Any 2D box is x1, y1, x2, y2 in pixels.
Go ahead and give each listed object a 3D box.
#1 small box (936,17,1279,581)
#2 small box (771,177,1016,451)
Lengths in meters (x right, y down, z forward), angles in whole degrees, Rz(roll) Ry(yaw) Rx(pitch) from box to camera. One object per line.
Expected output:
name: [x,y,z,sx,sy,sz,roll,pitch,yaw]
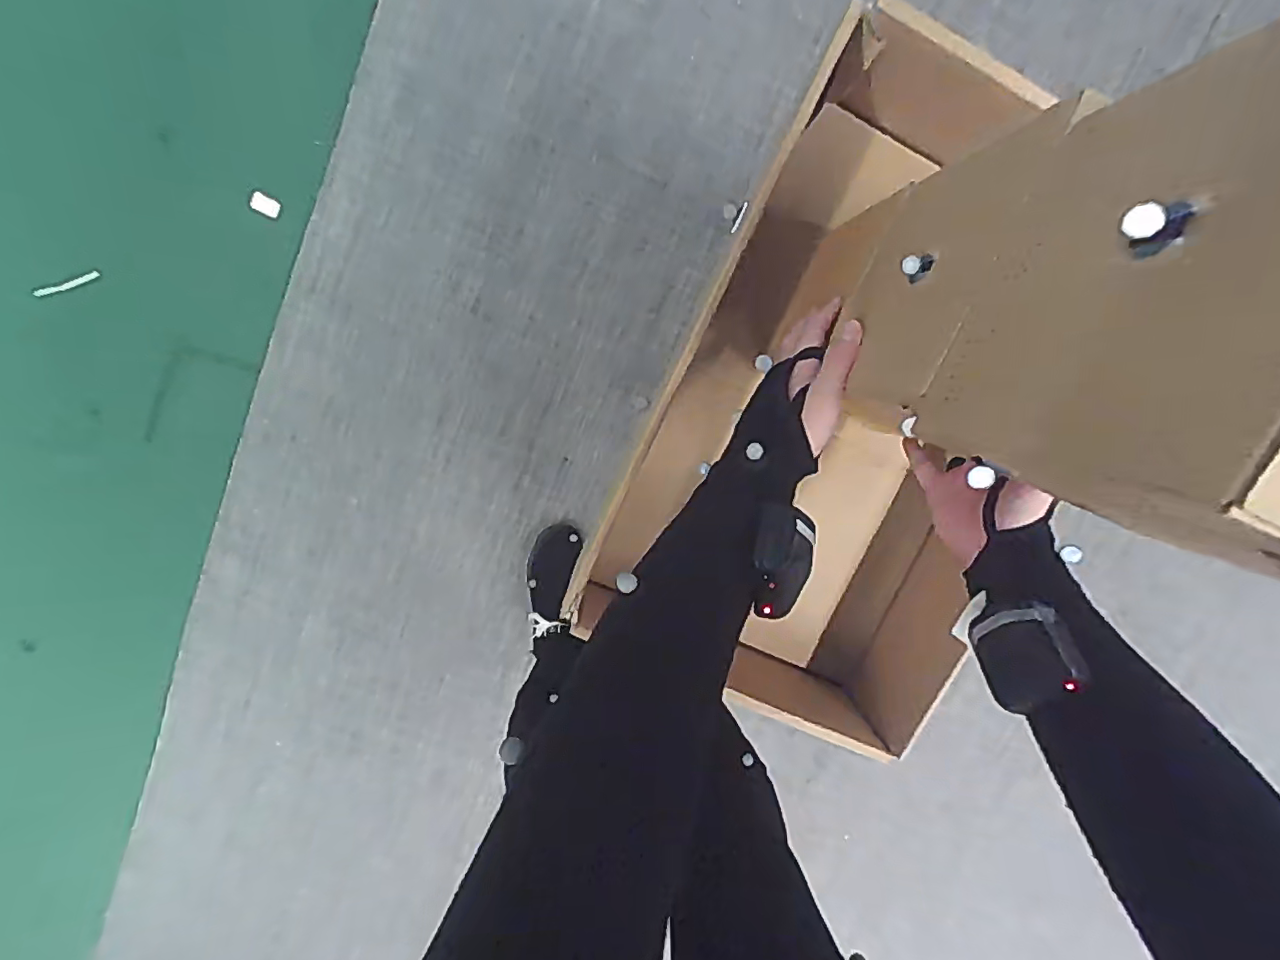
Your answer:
small box: [0.260,-0.056,0.216,0.168,0.176,0.179,21,101,-8]
small box: [0.251,-0.151,0.531,0.168,0.176,0.179,23,101,-8]
